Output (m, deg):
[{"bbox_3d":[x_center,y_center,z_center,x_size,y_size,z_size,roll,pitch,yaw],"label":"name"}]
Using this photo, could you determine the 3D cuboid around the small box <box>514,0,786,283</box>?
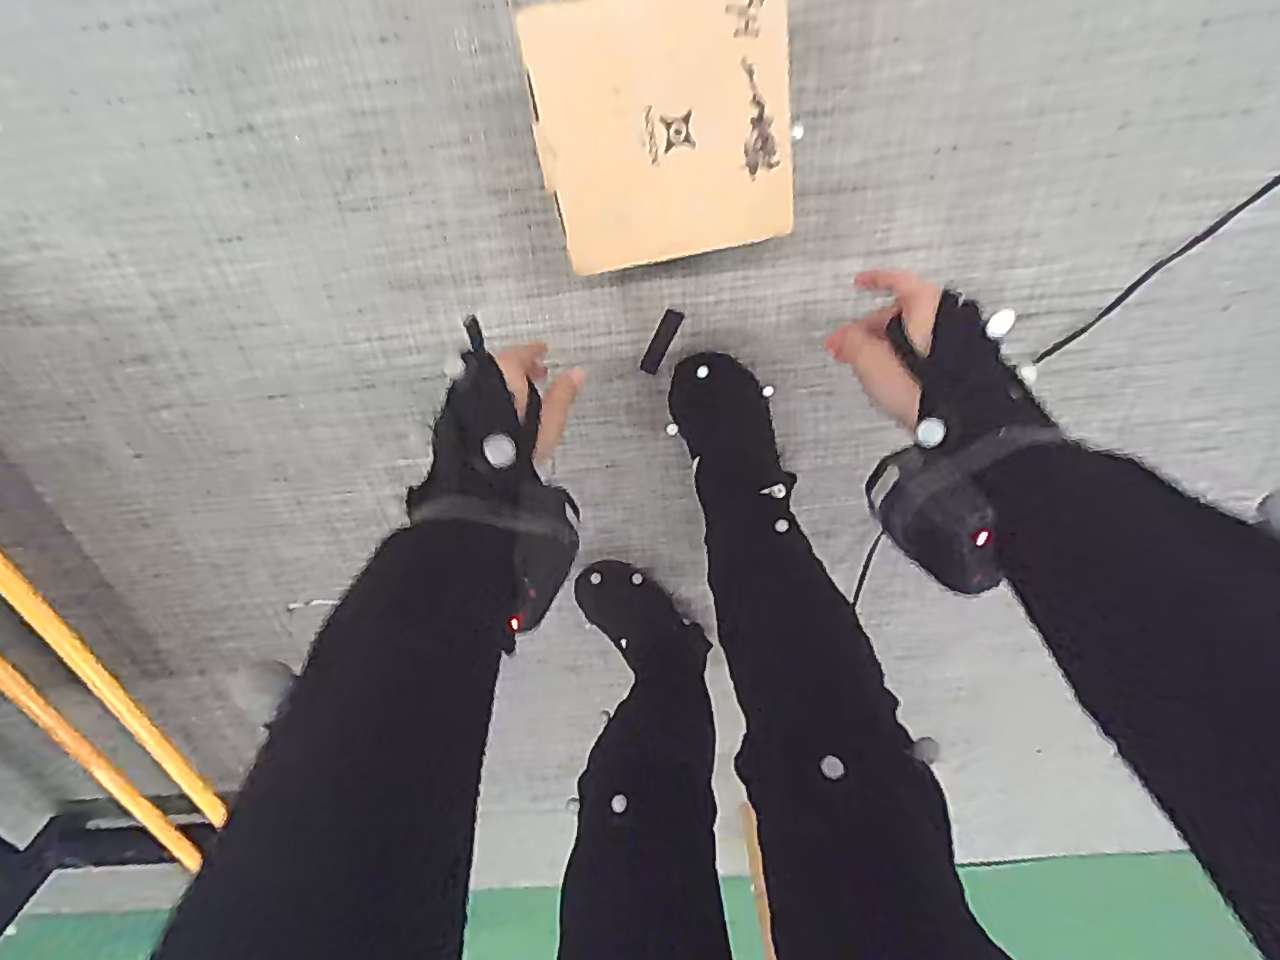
[{"bbox_3d":[0.016,-0.280,0.457,0.179,0.176,0.168,-9,121,6],"label":"small box"}]

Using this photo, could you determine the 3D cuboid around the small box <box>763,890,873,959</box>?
[{"bbox_3d":[0.326,0.871,0.965,0.179,0.176,0.168,-16,122,8],"label":"small box"}]

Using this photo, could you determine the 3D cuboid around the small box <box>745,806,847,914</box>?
[{"bbox_3d":[0.320,0.795,1.109,0.168,0.176,0.179,-13,121,8],"label":"small box"}]
